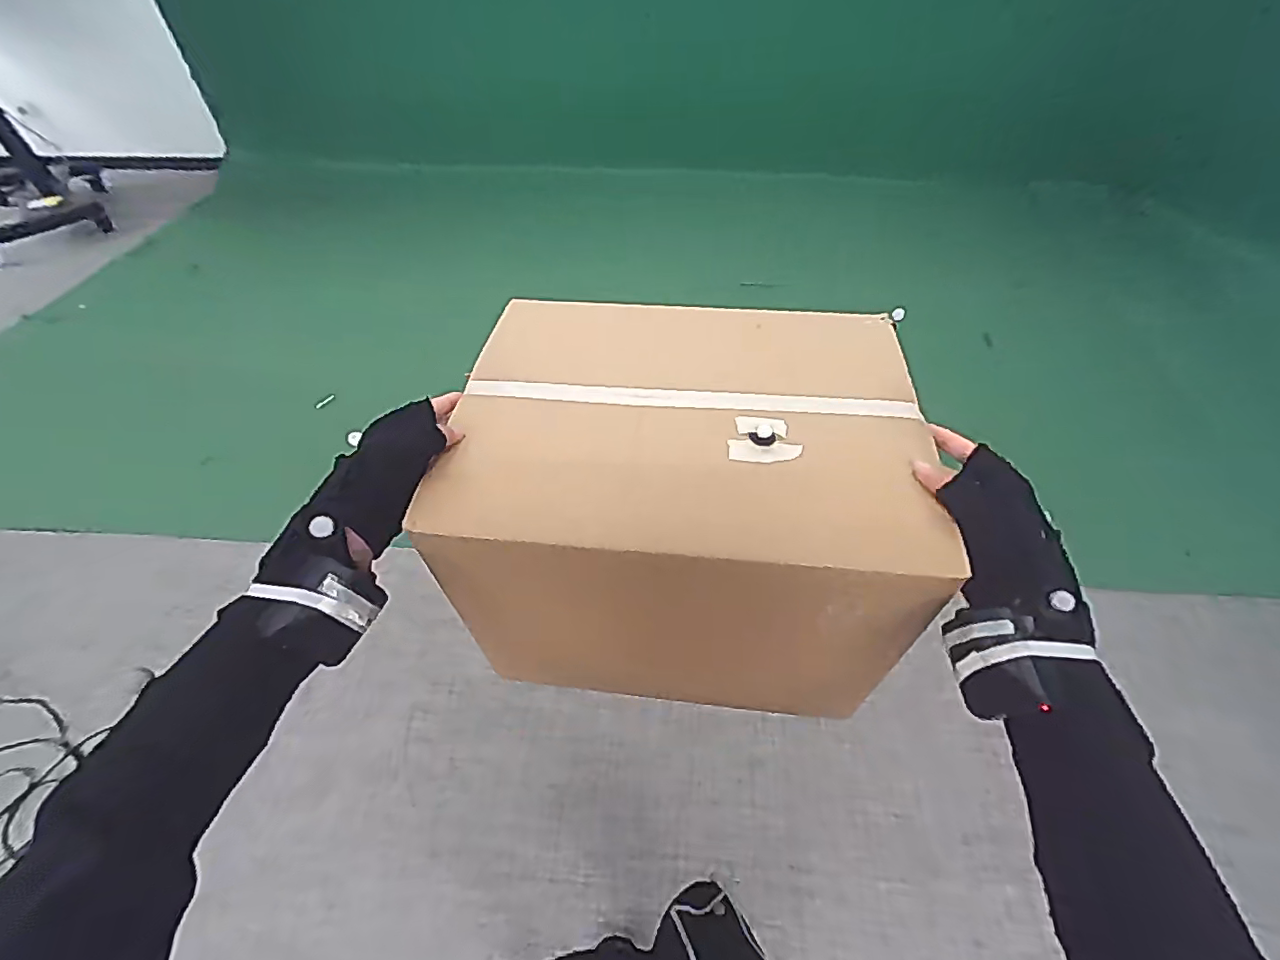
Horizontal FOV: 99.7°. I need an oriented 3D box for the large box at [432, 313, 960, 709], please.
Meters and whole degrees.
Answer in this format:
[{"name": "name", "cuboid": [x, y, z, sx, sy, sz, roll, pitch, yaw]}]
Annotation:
[{"name": "large box", "cuboid": [0.050, 0.036, 0.609, 0.408, 0.320, 0.320, 4, 50, 5]}]
